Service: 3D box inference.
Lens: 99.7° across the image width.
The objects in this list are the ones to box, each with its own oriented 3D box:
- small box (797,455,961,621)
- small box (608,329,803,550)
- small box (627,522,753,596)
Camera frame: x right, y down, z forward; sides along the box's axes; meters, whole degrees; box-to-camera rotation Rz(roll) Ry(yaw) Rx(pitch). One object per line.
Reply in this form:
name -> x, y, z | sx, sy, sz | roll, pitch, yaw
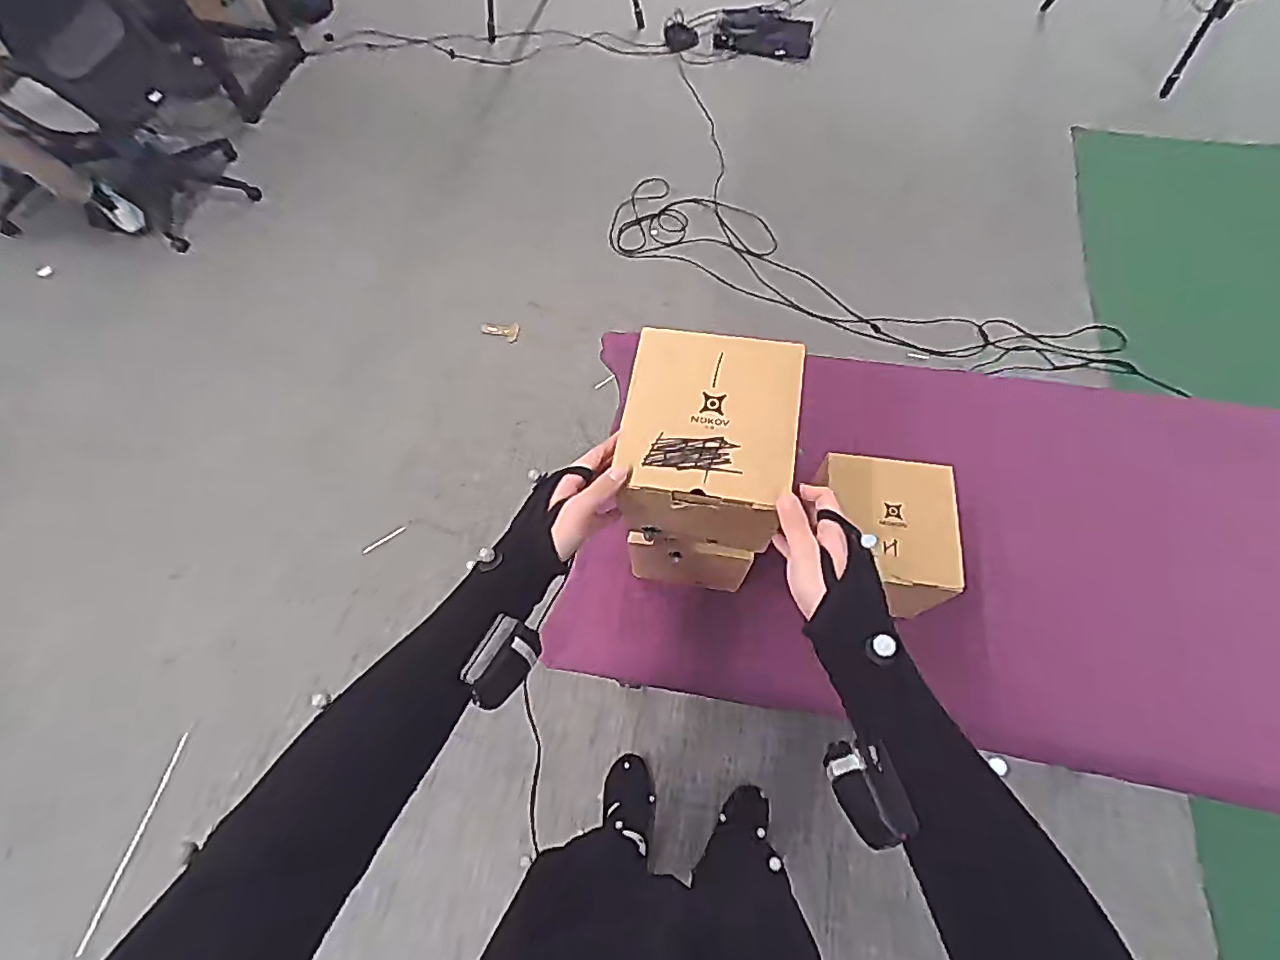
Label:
small box -> 0.327, 0.087, 0.773 | 0.168, 0.176, 0.179 | 7, 65, 6
small box -> 0.071, -0.034, 0.587 | 0.168, 0.176, 0.179 | 9, 68, 7
small box -> 0.079, 0.055, 0.798 | 0.168, 0.176, 0.179 | 7, 64, 7
